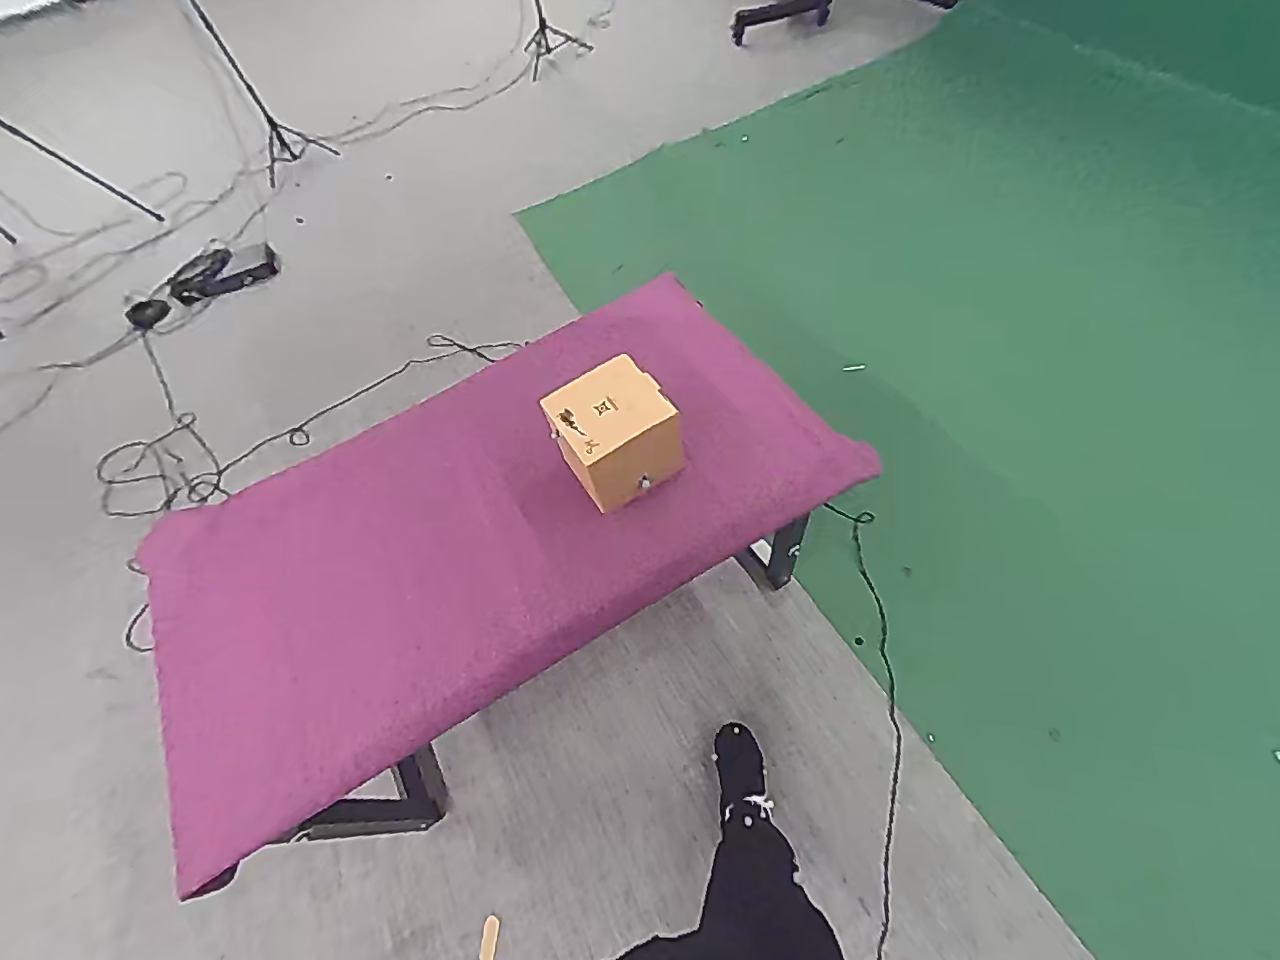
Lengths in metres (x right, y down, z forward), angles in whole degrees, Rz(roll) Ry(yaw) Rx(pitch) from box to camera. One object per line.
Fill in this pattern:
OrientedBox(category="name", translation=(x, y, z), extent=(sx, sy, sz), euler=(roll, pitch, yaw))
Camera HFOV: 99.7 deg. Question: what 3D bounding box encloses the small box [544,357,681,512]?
OrientedBox(category="small box", translation=(-0.041, -0.076, 0.953), extent=(0.179, 0.176, 0.168), euler=(-31, 59, -10))
